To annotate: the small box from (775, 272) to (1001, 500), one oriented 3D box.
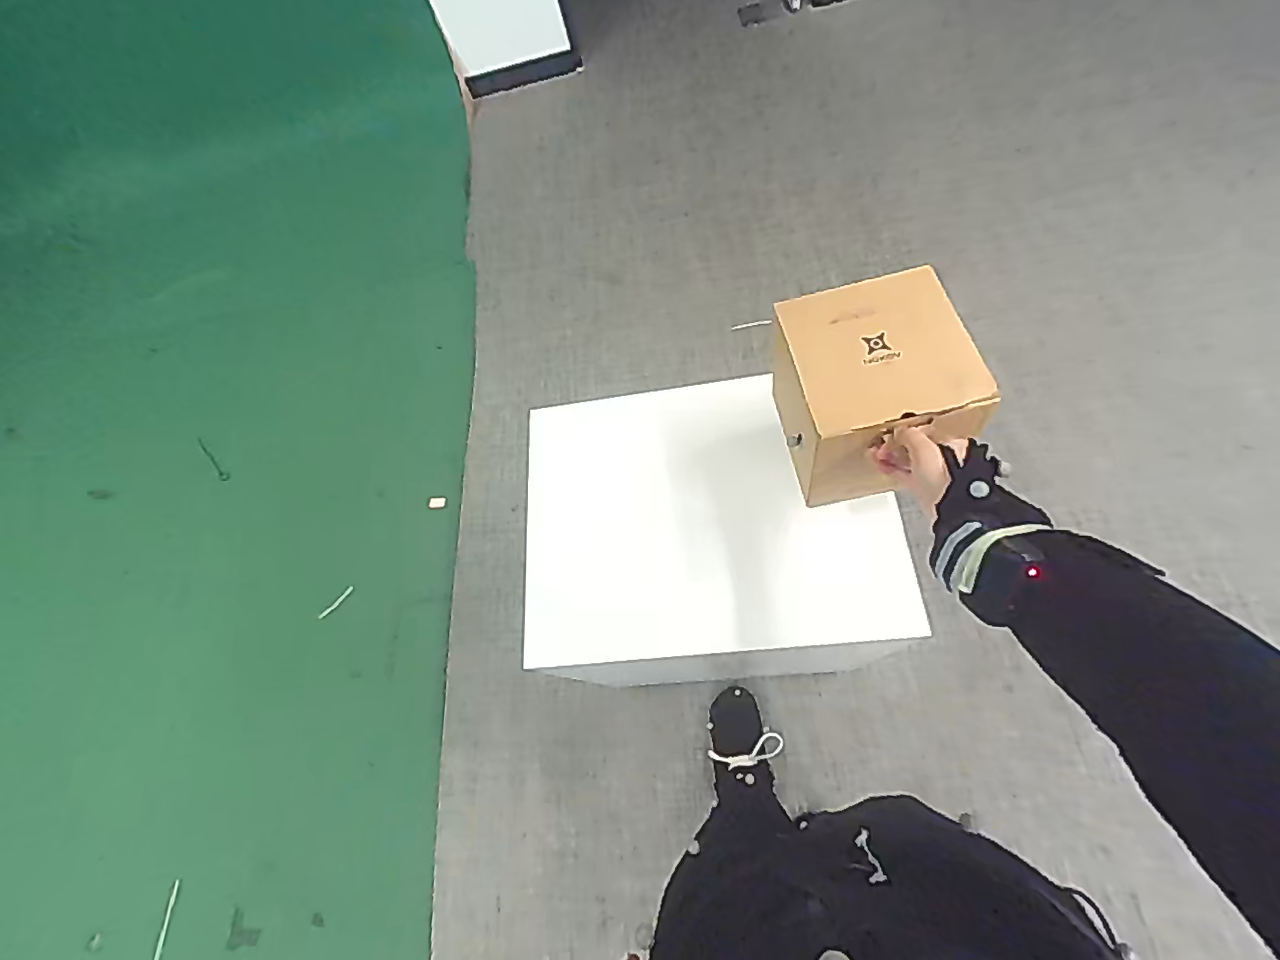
[{"bbox_3d":[0.253,-0.091,0.602,0.168,0.176,0.179,-12,60,6],"label":"small box"}]
